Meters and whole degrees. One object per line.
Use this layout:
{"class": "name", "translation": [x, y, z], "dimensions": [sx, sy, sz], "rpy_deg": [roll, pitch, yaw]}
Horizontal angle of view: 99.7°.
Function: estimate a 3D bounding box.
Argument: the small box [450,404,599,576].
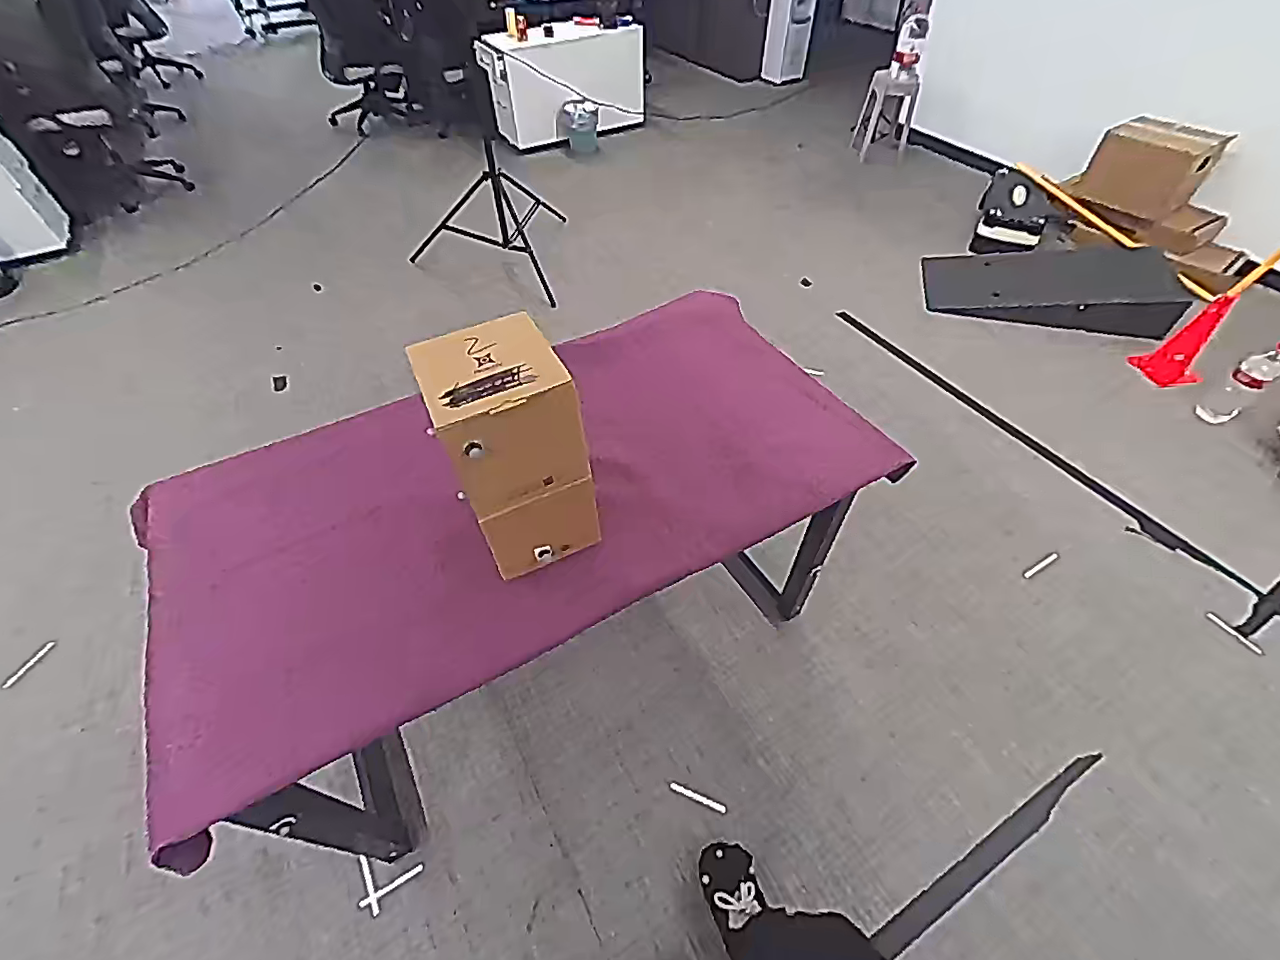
{"class": "small box", "translation": [-0.175, 0.017, 0.845], "dimensions": [0.168, 0.176, 0.179], "rpy_deg": [-23, 54, -16]}
